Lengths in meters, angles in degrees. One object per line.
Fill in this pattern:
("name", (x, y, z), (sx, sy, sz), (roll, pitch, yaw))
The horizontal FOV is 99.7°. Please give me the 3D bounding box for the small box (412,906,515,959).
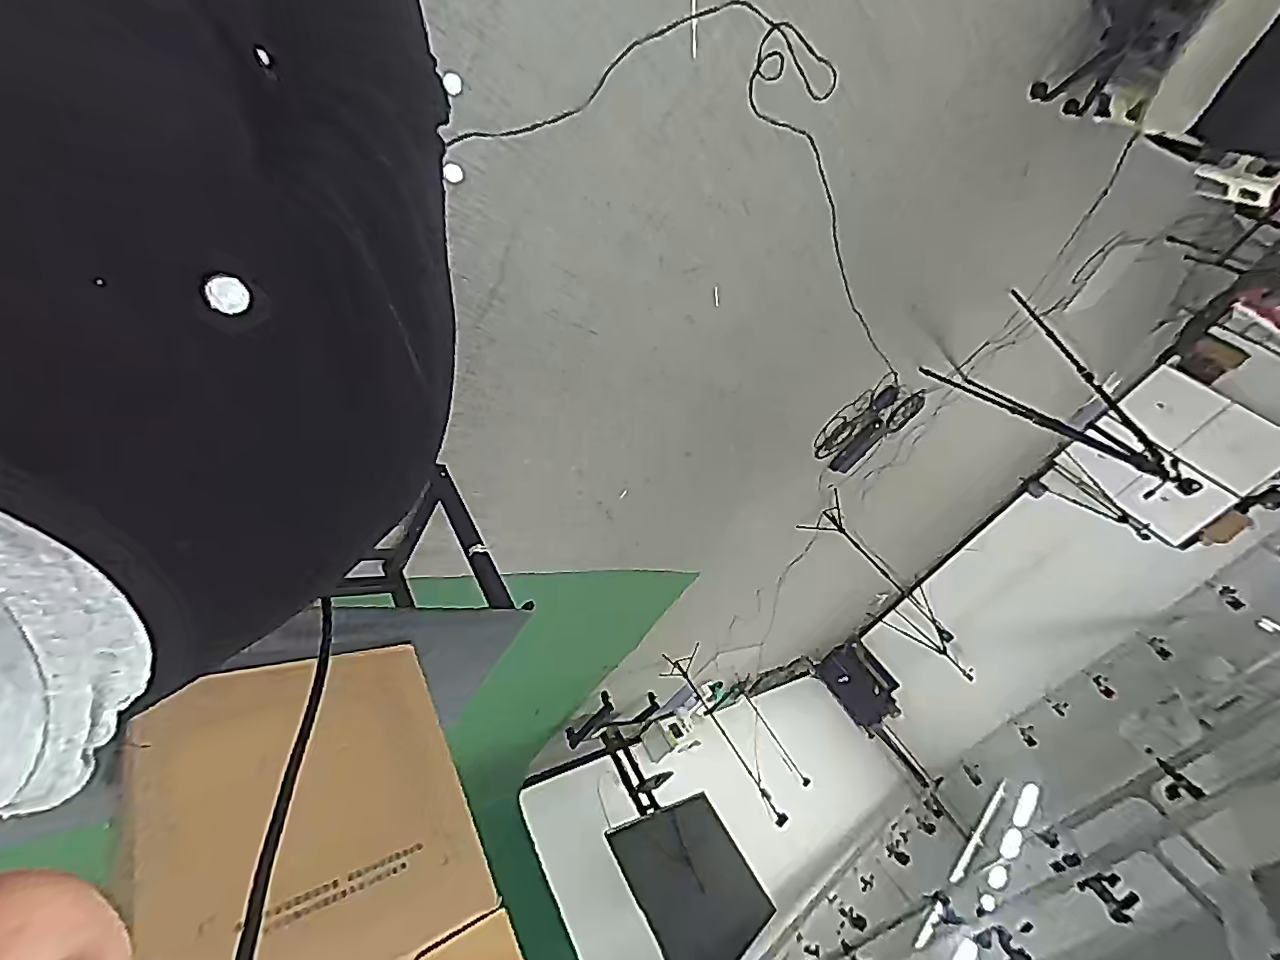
("small box", (-0.339, 0.952, 1.010), (0.179, 0.176, 0.168), (4, 128, -49))
